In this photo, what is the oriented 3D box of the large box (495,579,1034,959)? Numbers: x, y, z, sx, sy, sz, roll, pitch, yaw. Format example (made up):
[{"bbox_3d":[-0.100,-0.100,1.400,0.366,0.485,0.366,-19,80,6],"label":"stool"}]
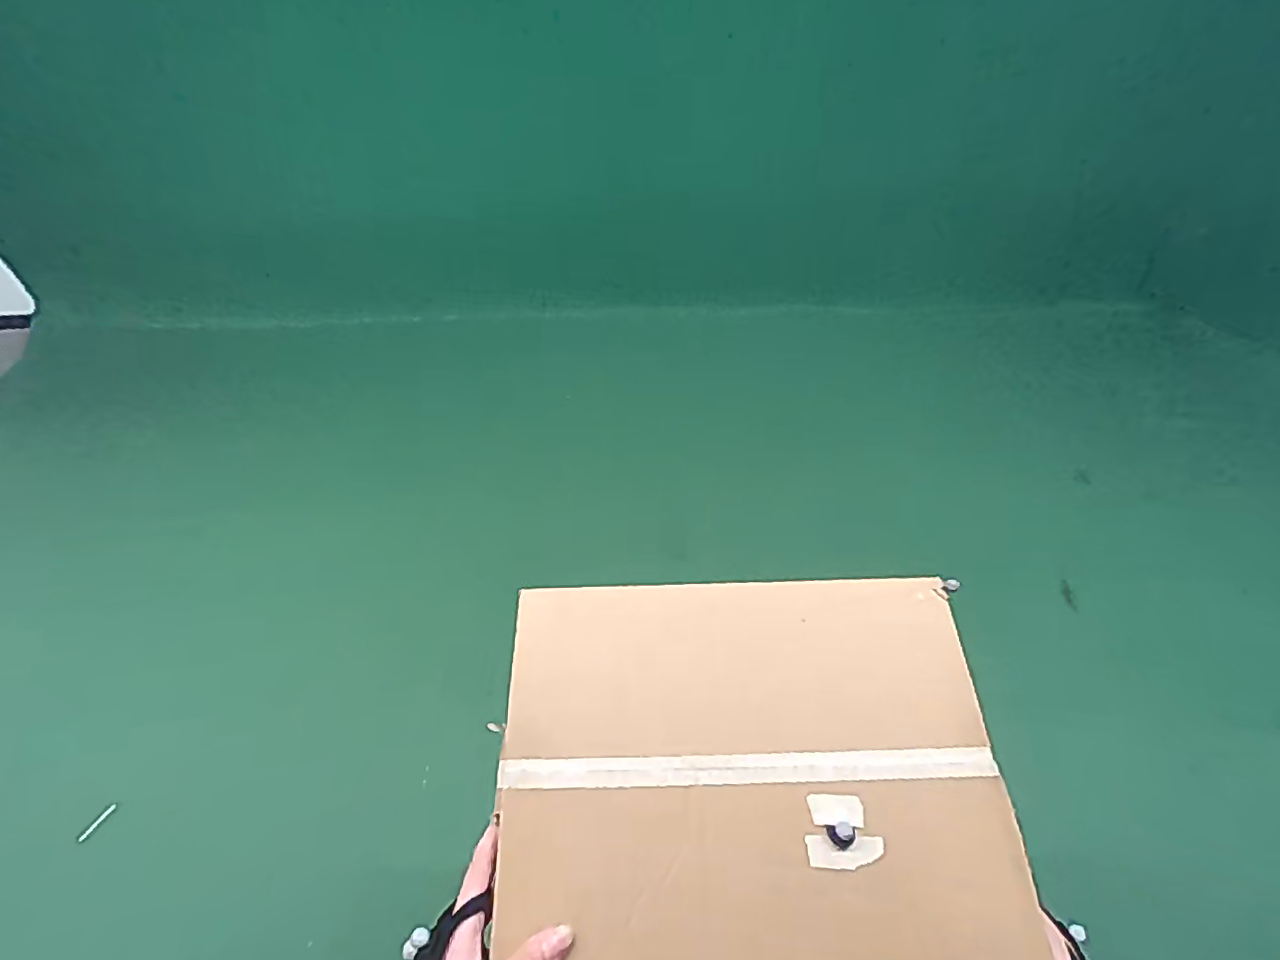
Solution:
[{"bbox_3d":[0.087,0.310,0.589,0.408,0.320,0.320,-2,62,1],"label":"large box"}]
